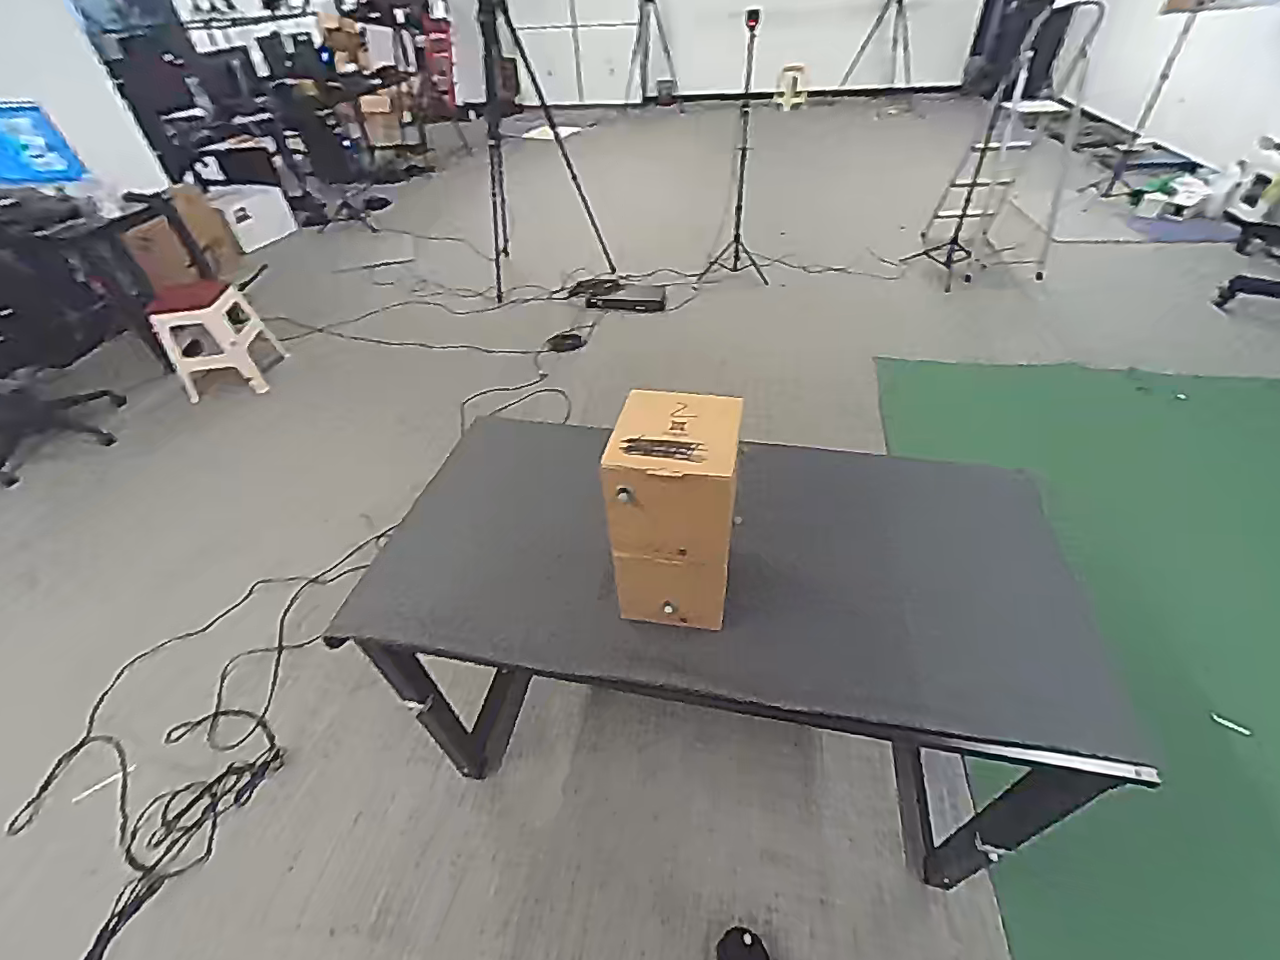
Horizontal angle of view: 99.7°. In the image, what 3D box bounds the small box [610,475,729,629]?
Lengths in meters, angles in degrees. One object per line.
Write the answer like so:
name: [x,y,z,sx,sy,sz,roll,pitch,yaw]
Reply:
small box: [0.053,0.116,0.885,0.168,0.176,0.179,5,44,9]
